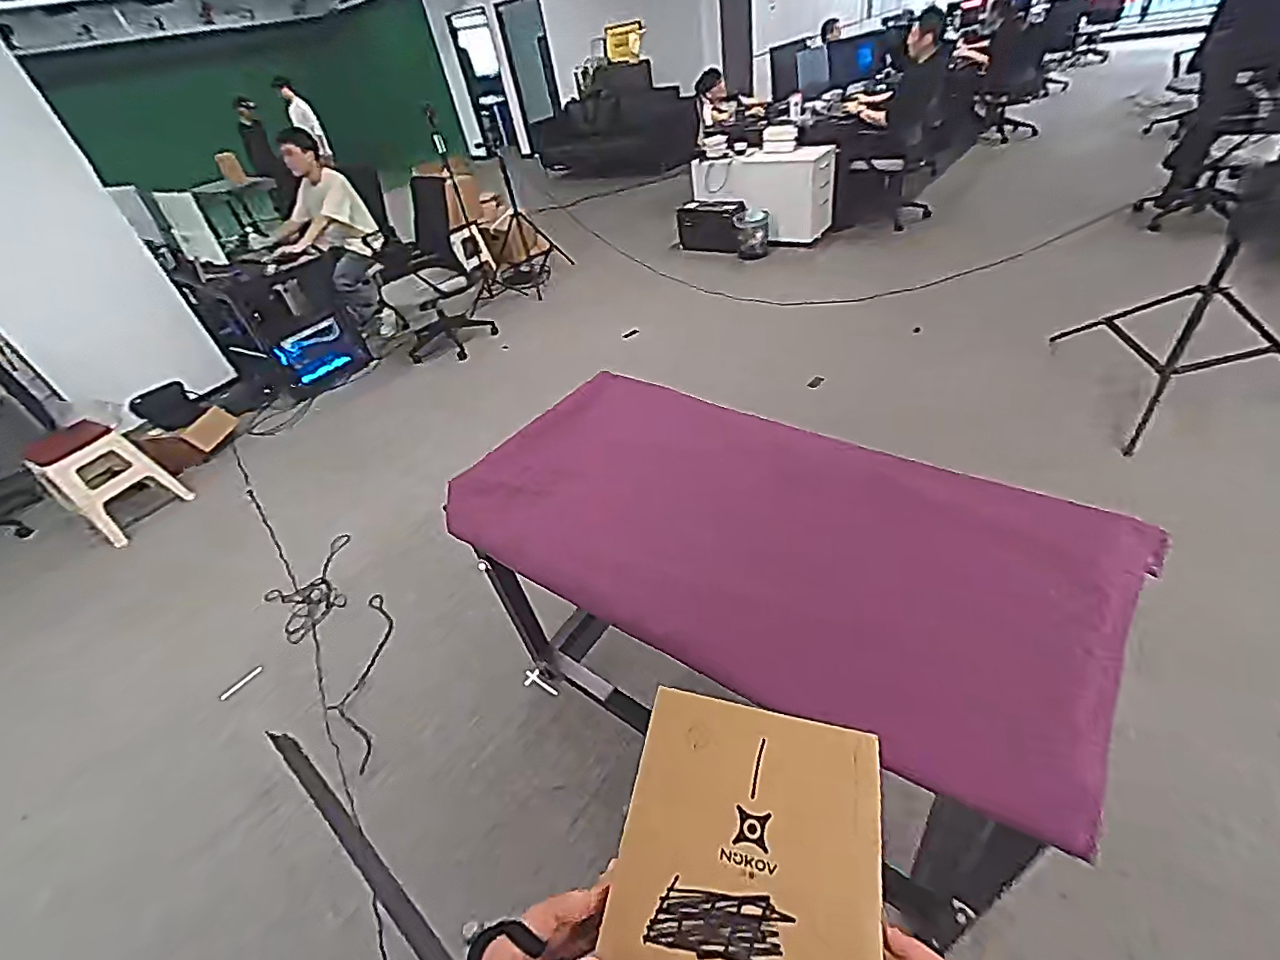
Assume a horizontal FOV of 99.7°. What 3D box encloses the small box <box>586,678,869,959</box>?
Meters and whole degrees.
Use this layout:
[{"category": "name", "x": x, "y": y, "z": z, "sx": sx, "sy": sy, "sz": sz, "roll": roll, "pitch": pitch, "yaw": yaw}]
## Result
[{"category": "small box", "x": 0.074, "y": 0.285, "z": 0.418, "sx": 0.168, "sy": 0.176, "sz": 0.179, "roll": 8, "pitch": 50, "yaw": 13}]
